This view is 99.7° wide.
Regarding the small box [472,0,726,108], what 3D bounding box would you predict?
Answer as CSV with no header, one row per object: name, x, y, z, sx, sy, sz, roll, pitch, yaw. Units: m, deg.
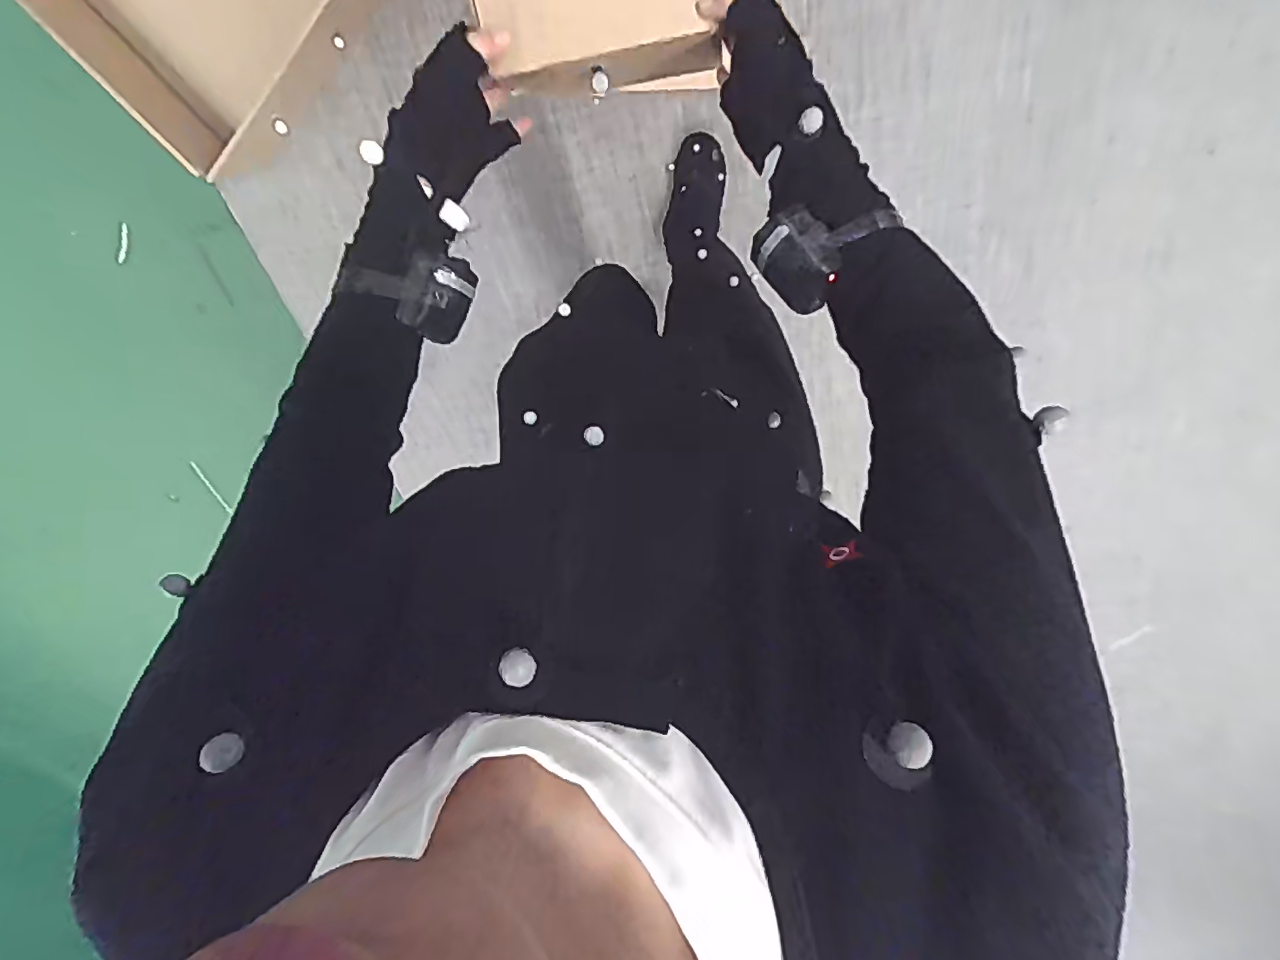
small box,-0.028,-0.414,0.429,0.179,0.176,0.168,-3,119,13
